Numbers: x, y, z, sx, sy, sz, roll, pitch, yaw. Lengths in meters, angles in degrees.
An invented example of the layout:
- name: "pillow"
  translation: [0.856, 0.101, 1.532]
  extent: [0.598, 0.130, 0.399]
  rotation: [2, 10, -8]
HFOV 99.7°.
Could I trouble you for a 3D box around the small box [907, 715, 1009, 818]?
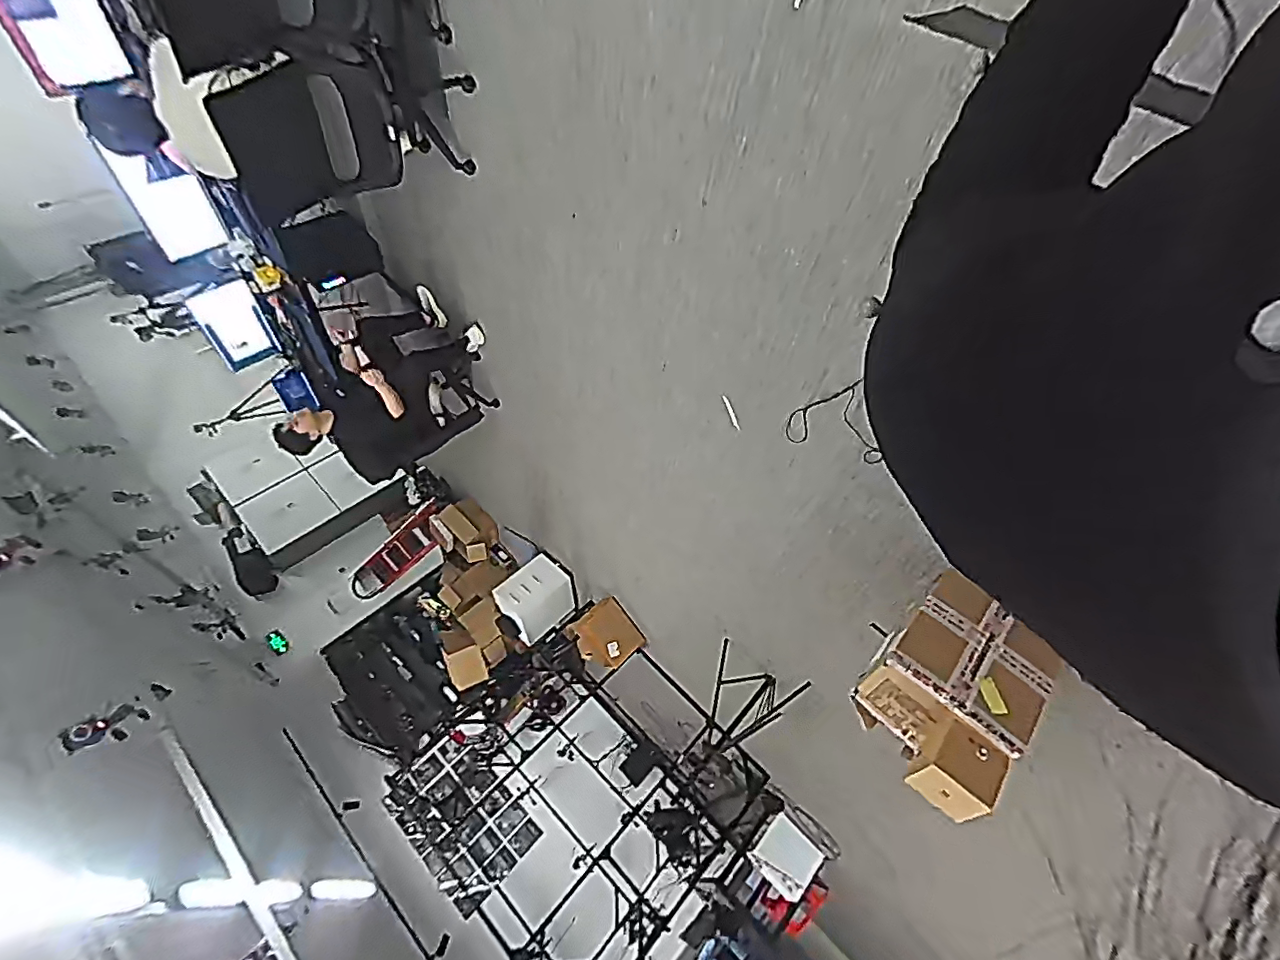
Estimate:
- name: "small box"
  translation: [0.900, 0.805, 1.527]
  extent: [0.168, 0.176, 0.179]
  rotation: [36, 143, 23]
